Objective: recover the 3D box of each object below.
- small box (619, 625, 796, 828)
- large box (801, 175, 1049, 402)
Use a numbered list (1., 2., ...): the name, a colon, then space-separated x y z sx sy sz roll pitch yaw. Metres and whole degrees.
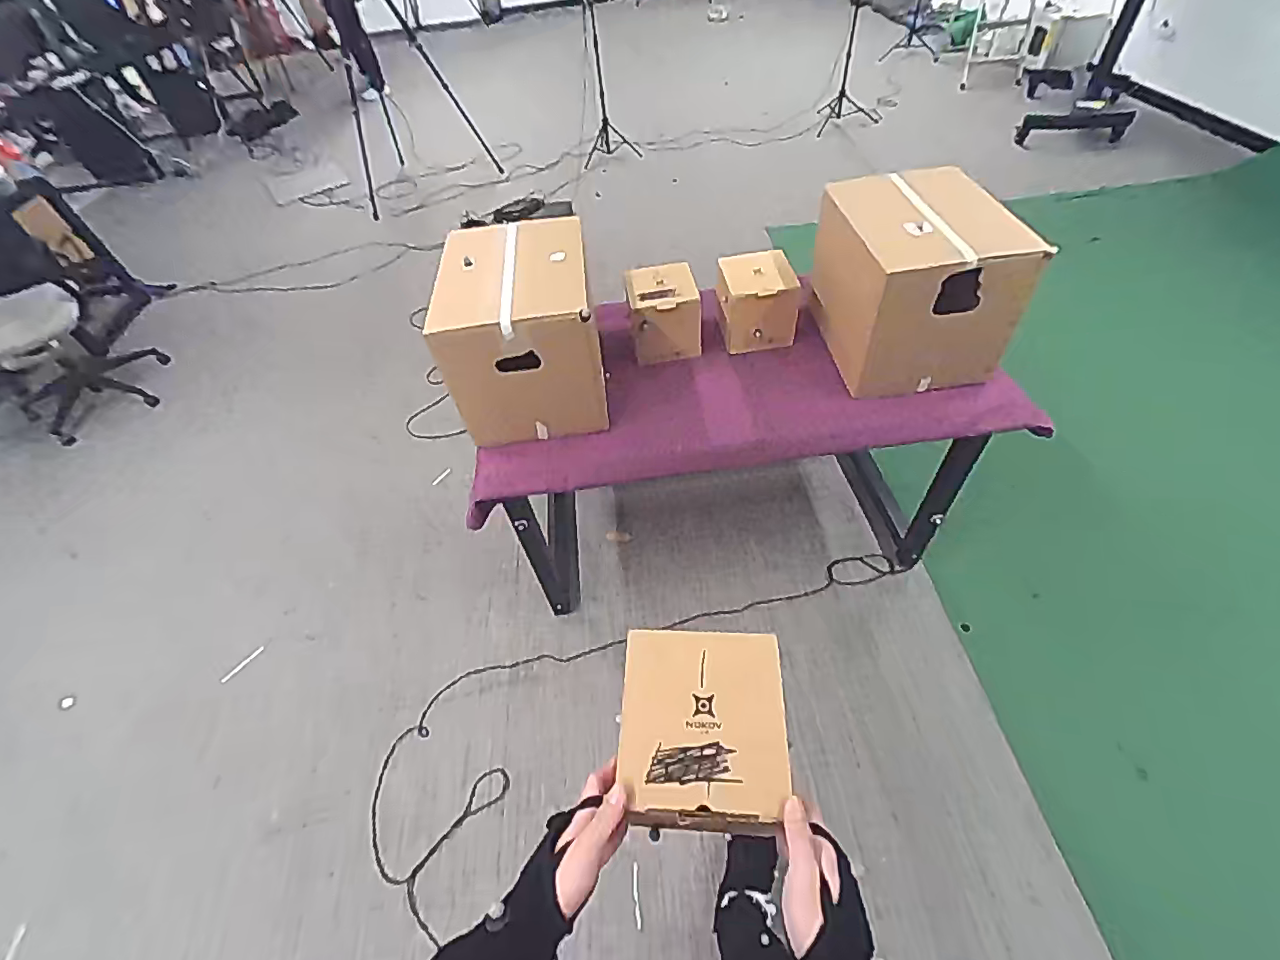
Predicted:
1. small box: 0.072 0.279 0.607 0.168 0.176 0.179 0 52 5
2. large box: 0.596 -0.438 1.234 0.320 0.320 0.408 -8 51 1
